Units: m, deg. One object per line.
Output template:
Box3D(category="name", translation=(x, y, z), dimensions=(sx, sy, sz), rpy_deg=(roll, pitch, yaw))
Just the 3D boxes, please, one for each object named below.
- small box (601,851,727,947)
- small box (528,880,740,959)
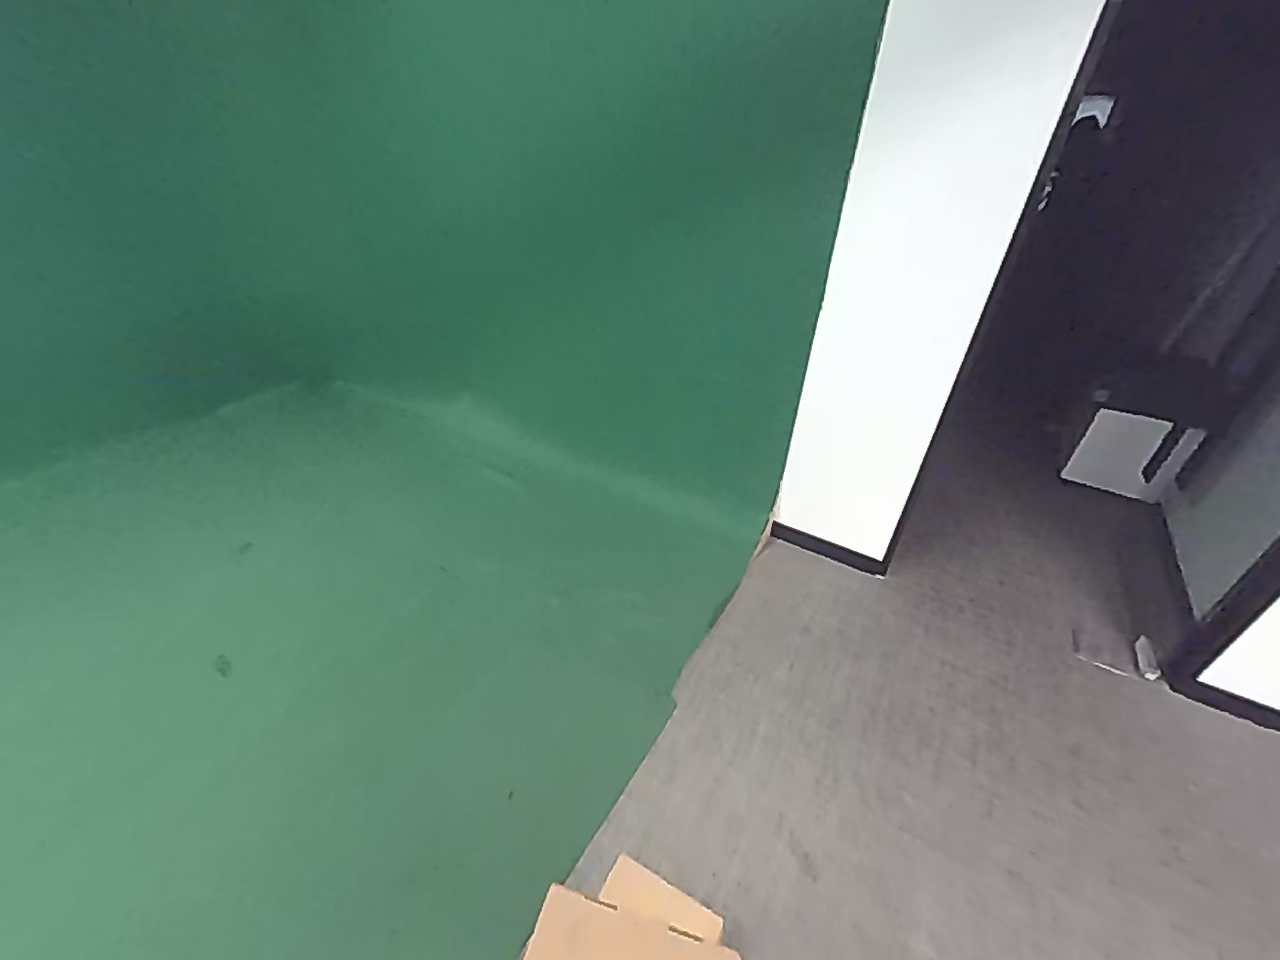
Box3D(category="small box", translation=(0.006, 0.679, 0.751), dimensions=(0.168, 0.176, 0.179), rpy_deg=(17, 39, 26))
Box3D(category="small box", translation=(-0.027, 0.474, 0.427), dimensions=(0.168, 0.176, 0.179), rpy_deg=(14, 36, 11))
